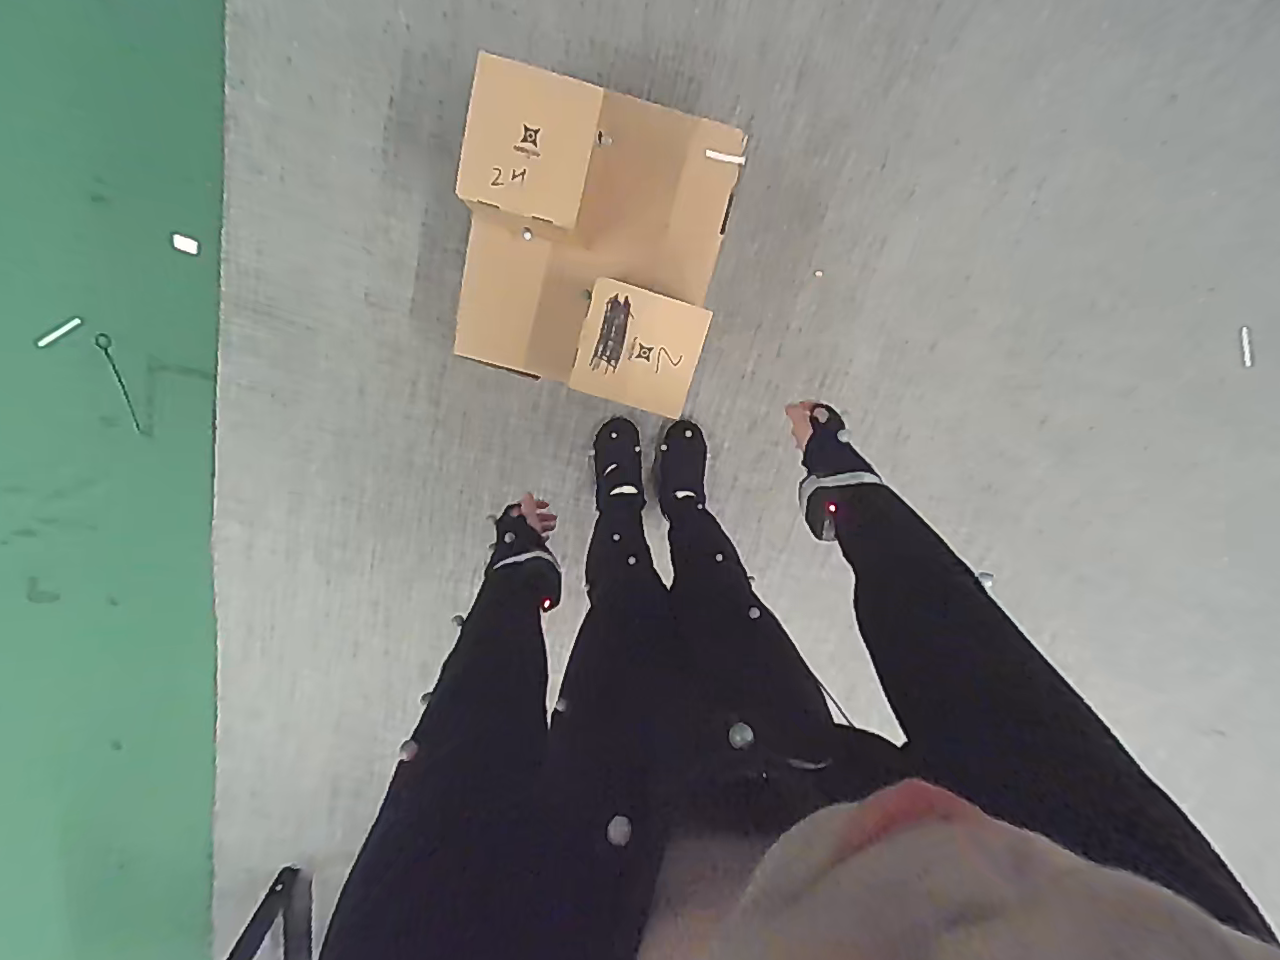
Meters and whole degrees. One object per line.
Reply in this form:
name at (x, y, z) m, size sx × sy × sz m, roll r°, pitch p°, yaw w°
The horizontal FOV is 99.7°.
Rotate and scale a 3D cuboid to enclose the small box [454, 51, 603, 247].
small box at (-0.152, -0.460, 0.784) m, size 0.168 × 0.176 × 0.179 m, roll 14°, pitch 104°, yaw -5°
